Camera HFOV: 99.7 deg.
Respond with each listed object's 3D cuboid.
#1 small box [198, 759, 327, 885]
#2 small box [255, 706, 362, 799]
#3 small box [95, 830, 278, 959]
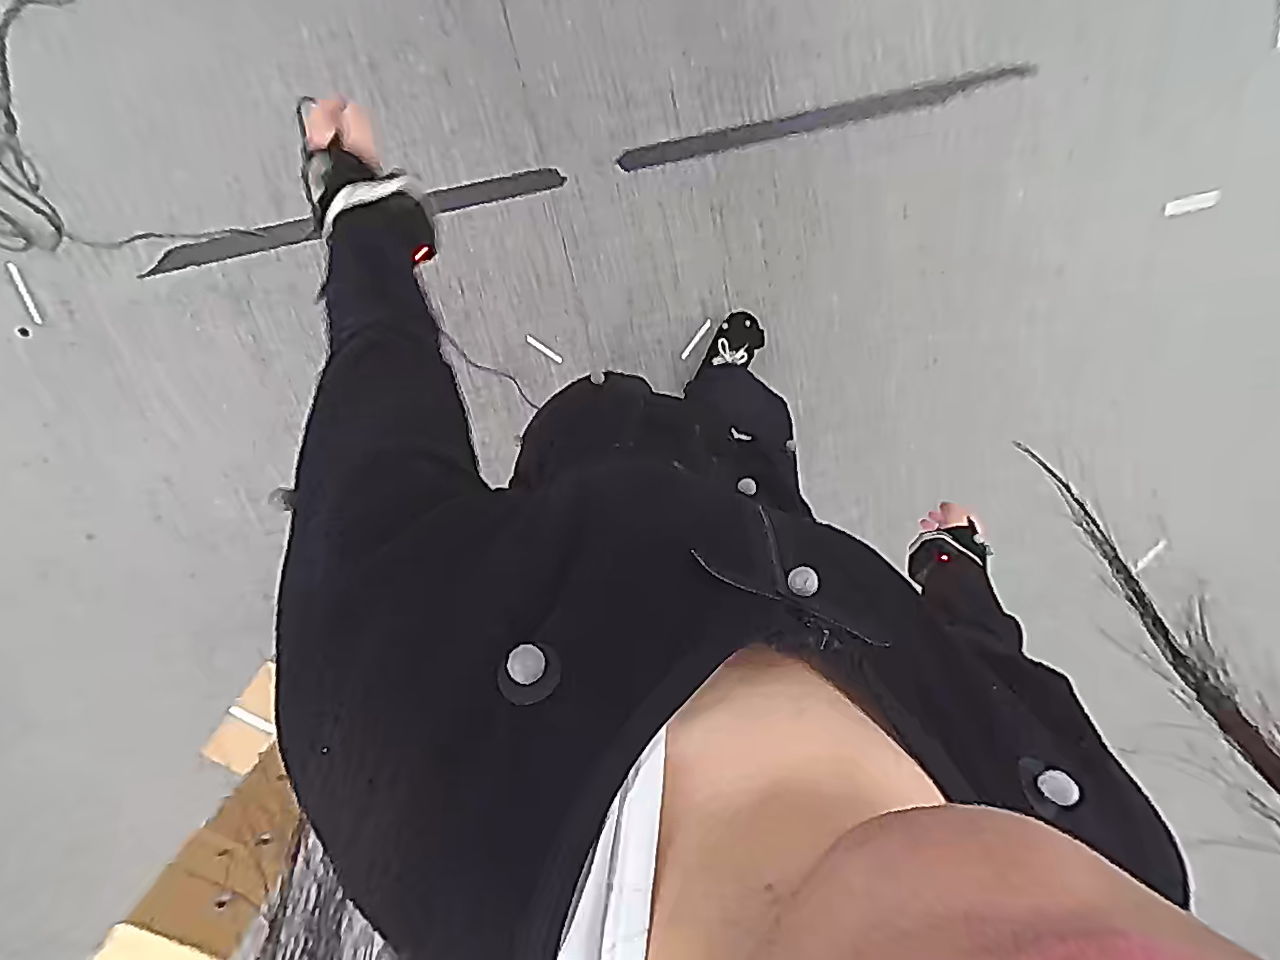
[{"bbox_3d":[-0.753,0.694,1.050,0.168,0.176,0.179,35,100,-11],"label":"small box"},{"bbox_3d":[-0.762,0.652,1.209,0.168,0.176,0.179,35,99,-11],"label":"small box"},{"bbox_3d":[-0.744,0.729,0.891,0.168,0.176,0.179,34,100,-11],"label":"small box"}]
